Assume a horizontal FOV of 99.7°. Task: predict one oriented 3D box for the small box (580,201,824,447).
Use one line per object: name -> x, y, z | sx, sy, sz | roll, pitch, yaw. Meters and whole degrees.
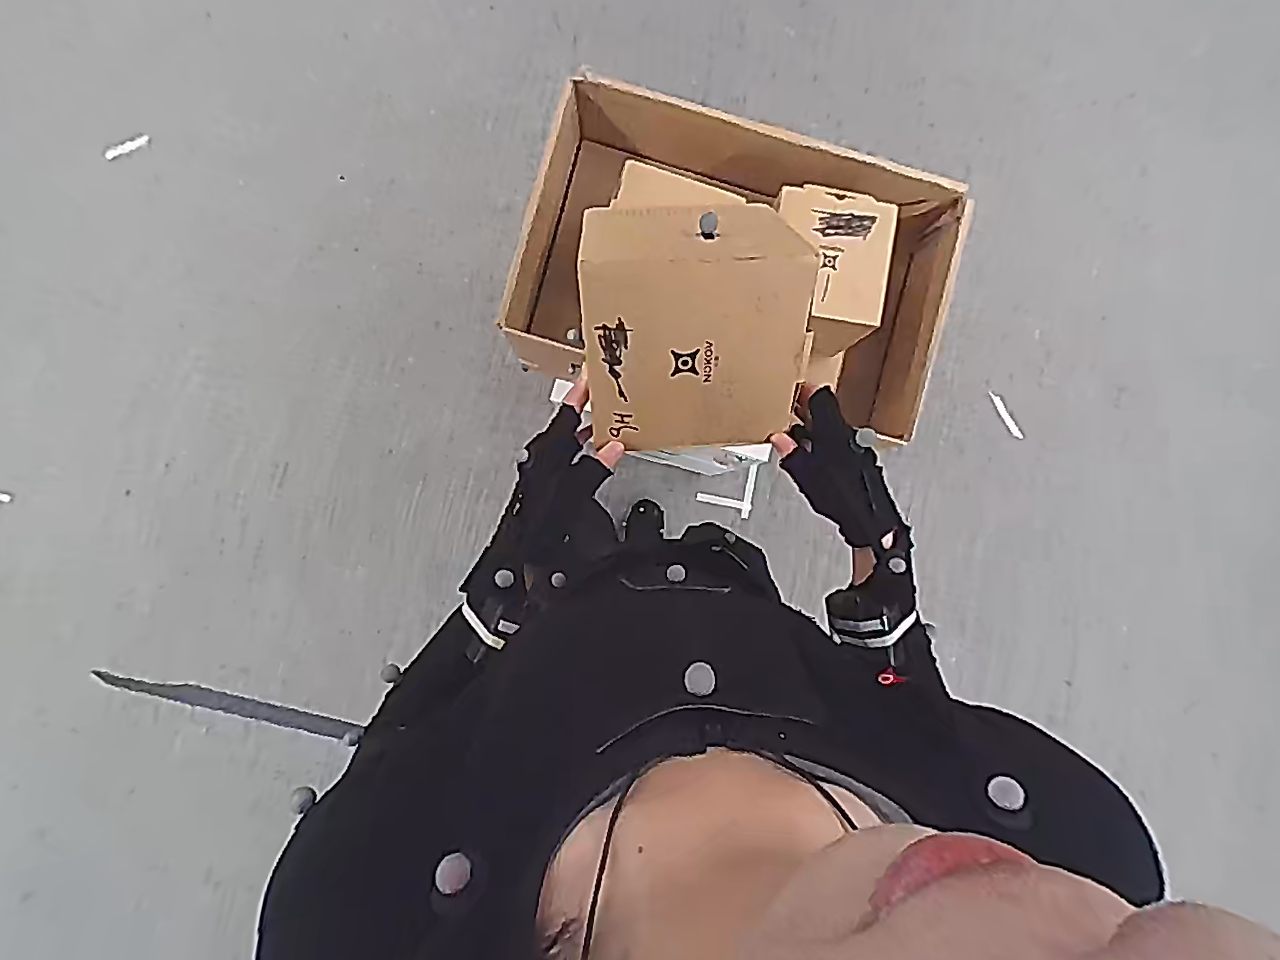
small box -> 0.039, -0.147, 0.489 | 0.179, 0.176, 0.168 | -3, 127, -3
